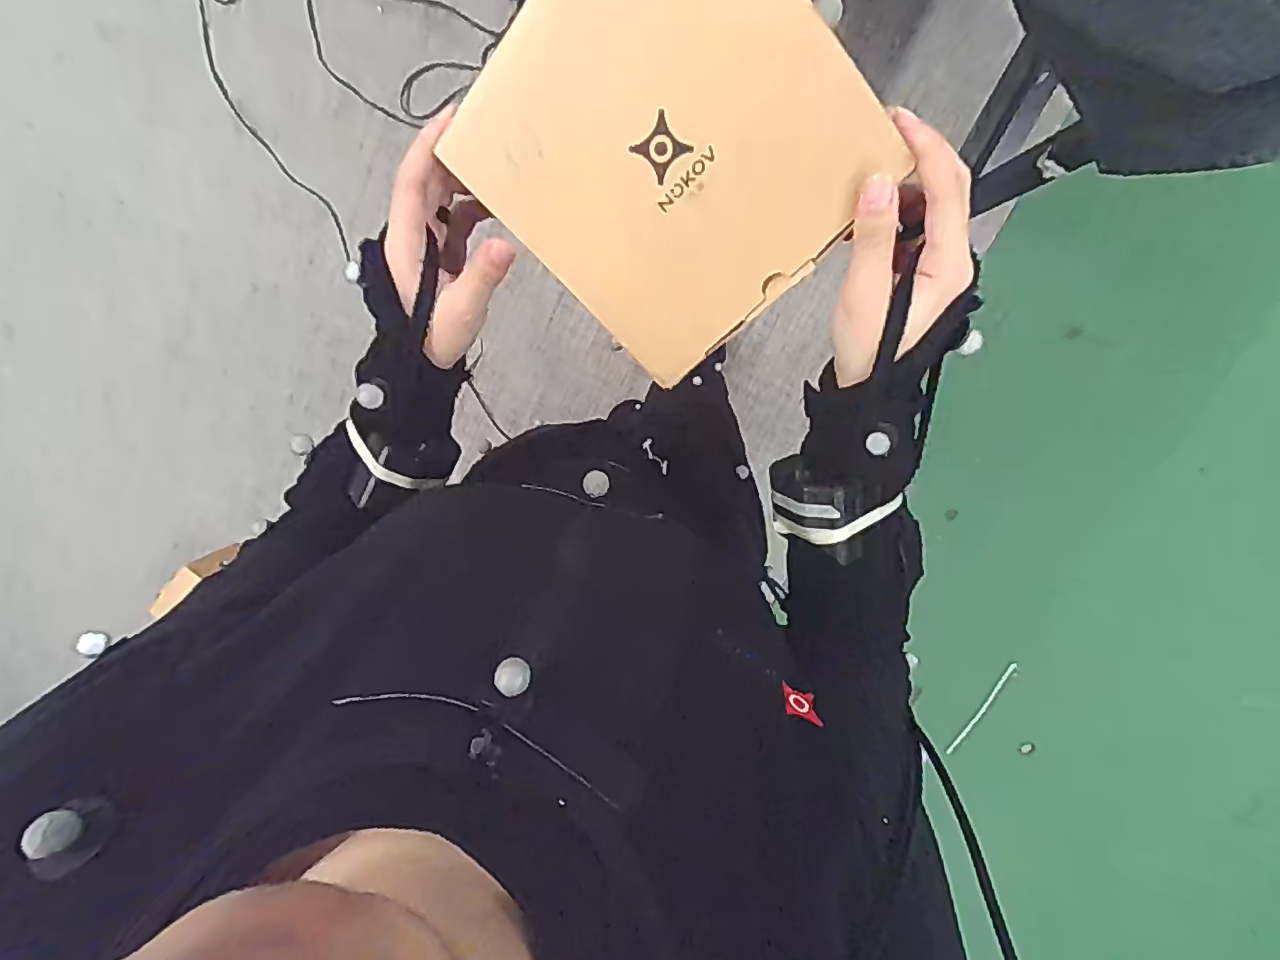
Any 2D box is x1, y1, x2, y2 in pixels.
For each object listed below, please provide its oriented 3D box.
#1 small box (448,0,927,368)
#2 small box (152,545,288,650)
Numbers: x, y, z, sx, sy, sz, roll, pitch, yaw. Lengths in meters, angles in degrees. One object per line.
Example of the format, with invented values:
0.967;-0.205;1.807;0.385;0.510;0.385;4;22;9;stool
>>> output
0.027;-0.205;0.330;0.179;0.176;0.168;42;117;-17;small box
-1.057;0.286;1.375;0.179;0.176;0.168;43;101;-8;small box
